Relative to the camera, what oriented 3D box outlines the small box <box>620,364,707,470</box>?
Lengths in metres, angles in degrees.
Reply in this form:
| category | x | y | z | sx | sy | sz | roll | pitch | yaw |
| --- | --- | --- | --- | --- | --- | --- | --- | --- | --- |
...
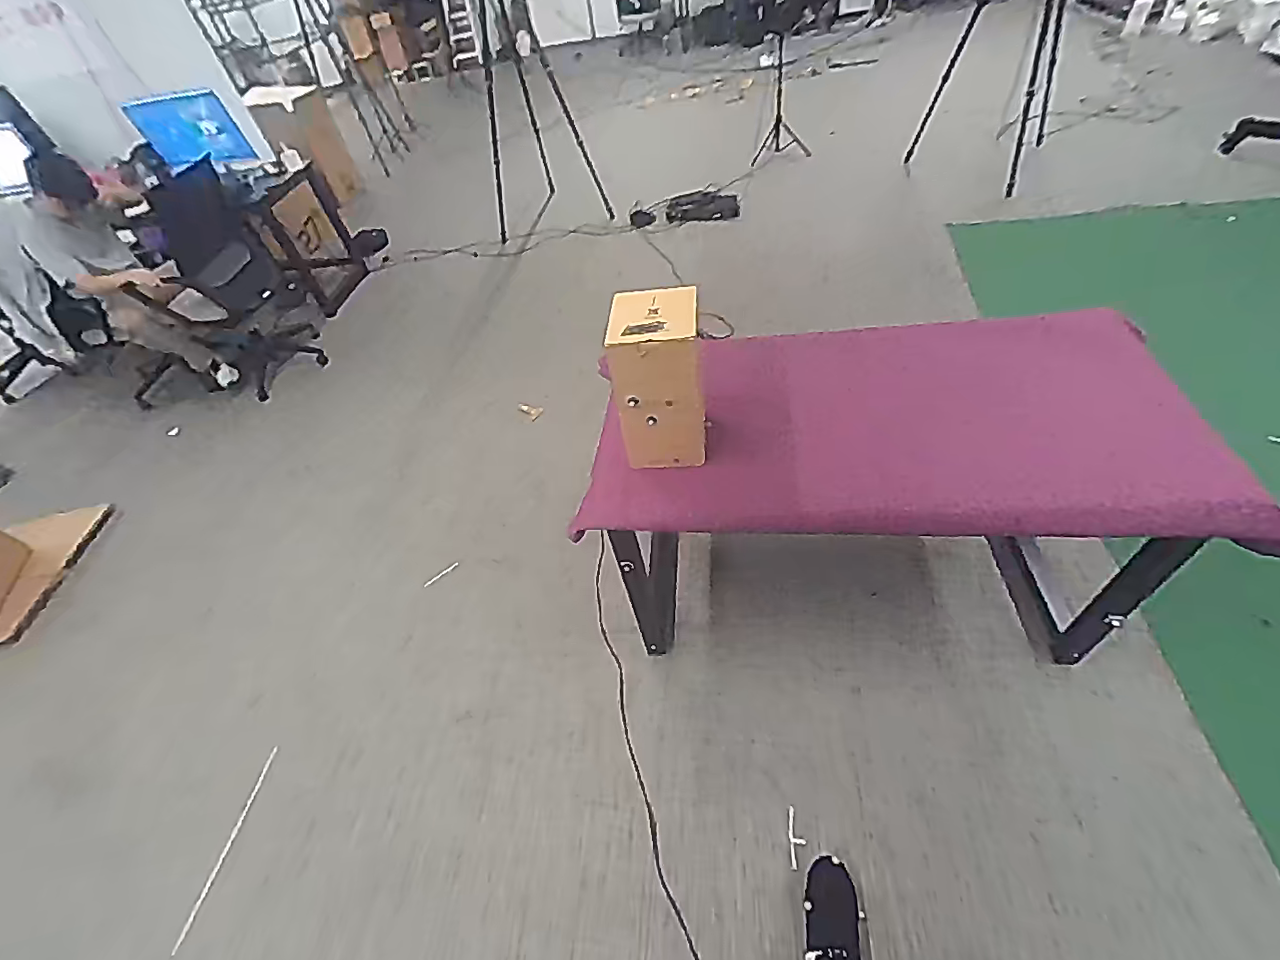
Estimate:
| category | x | y | z | sx | sy | sz | roll | pitch | yaw |
| --- | --- | --- | --- | --- | --- | --- | --- | --- | --- |
| small box | 0.058 | -0.140 | 1.185 | 0.168 | 0.176 | 0.179 | -2 | 48 | 10 |

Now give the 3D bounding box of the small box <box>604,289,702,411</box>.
| category | x | y | z | sx | sy | sz | roll | pitch | yaw |
| --- | --- | --- | --- | --- | --- | --- | --- | --- | --- |
| small box | 0.035 | -0.249 | 1.063 | 0.168 | 0.176 | 0.179 | -2 | 48 | 10 |
